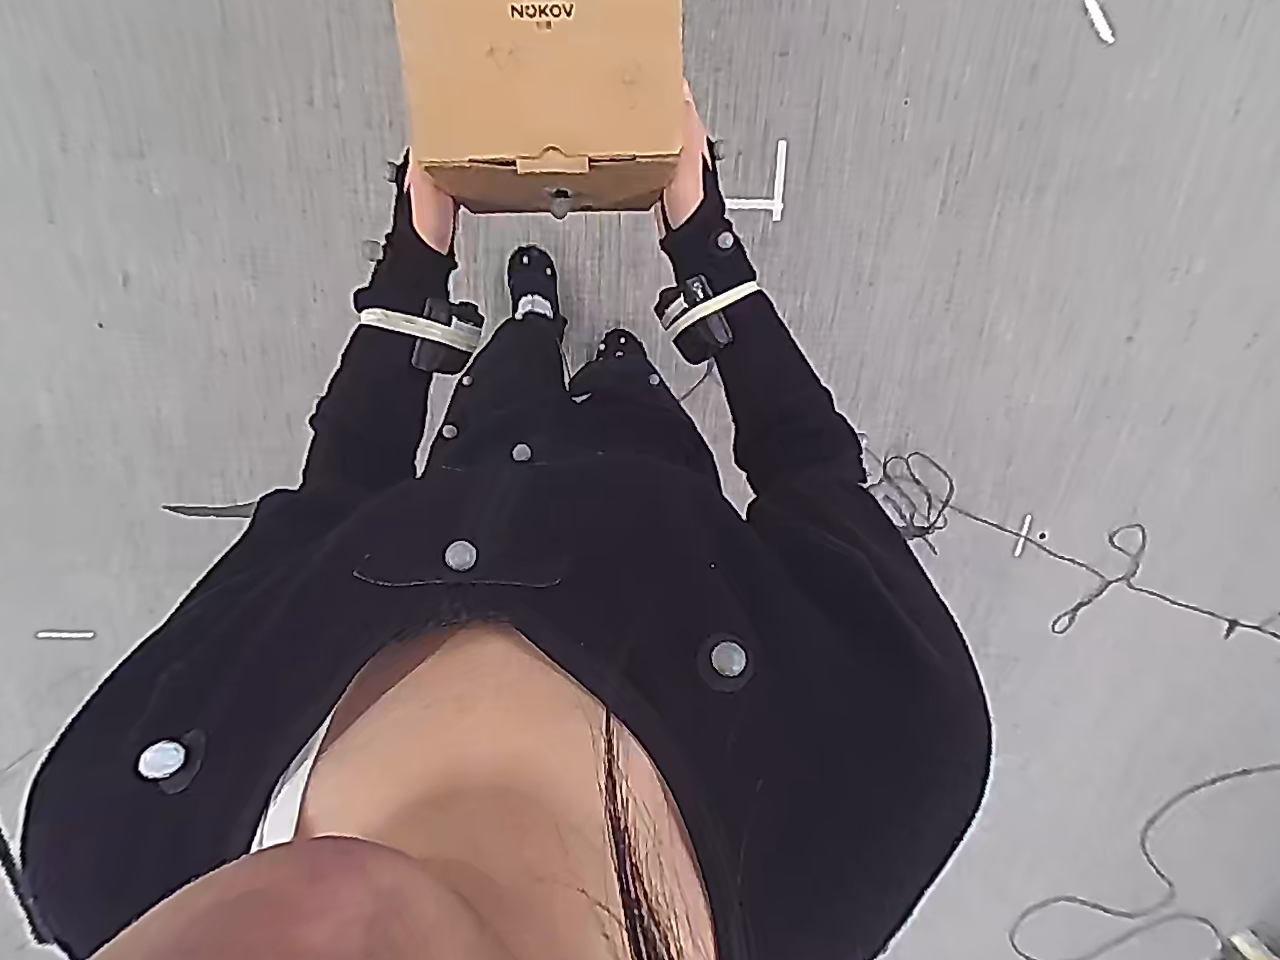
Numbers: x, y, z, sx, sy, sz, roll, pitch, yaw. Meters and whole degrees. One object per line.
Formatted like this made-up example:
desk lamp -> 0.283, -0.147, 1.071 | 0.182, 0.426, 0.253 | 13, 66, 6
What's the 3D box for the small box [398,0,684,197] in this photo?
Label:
small box -> -0.063, -0.307, 0.382 | 0.168, 0.176, 0.179 | -4, 108, -5
